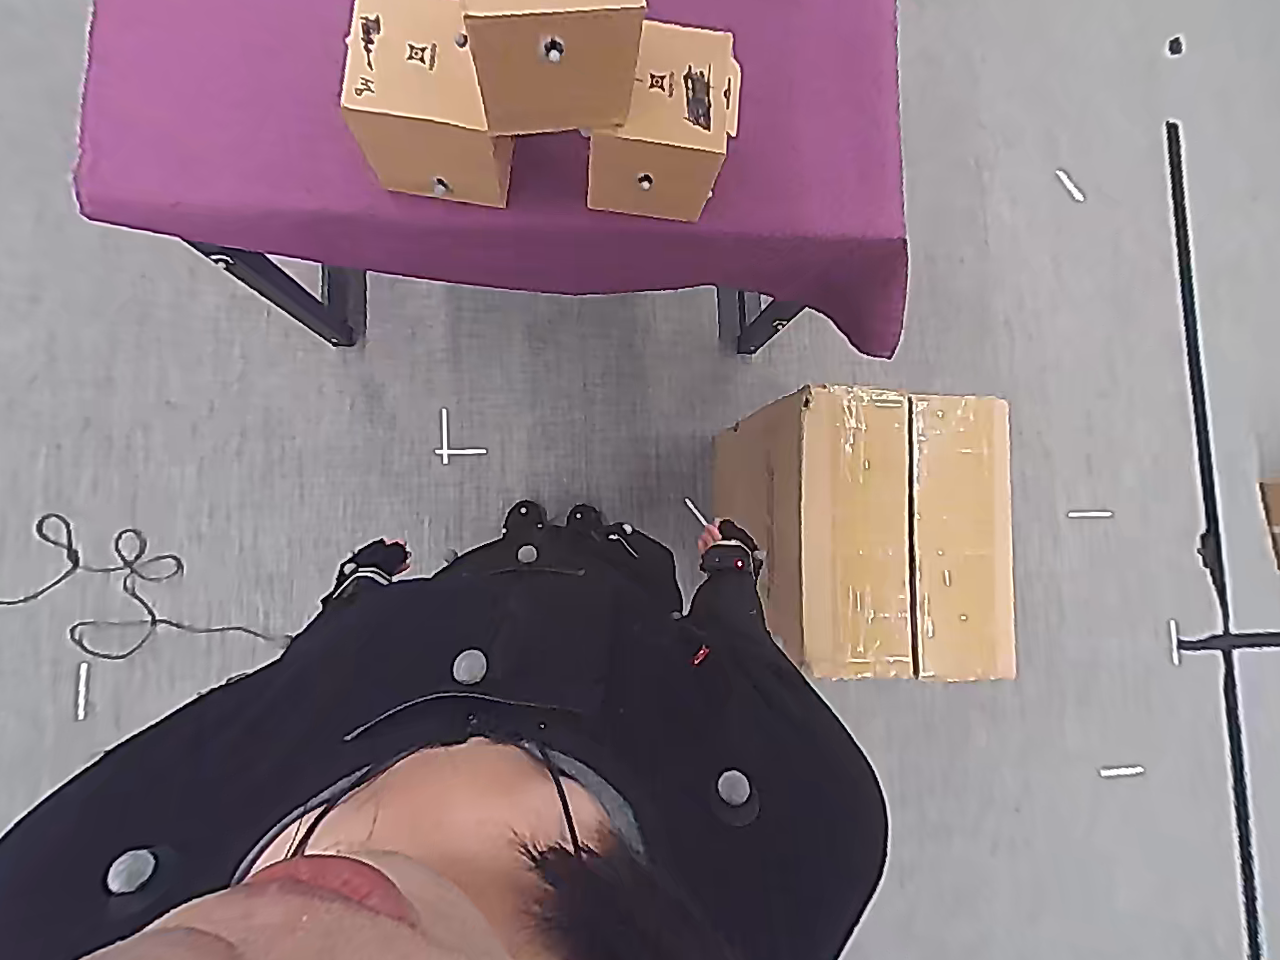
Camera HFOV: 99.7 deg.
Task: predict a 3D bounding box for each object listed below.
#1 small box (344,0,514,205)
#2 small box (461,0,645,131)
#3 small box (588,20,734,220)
[{"bbox_3d":[-0.268,-0.504,0.734,0.179,0.176,0.168,6,84,-8],"label":"small box"},{"bbox_3d":[-0.101,-0.516,0.592,0.179,0.176,0.168,-10,88,-8],"label":"small box"},{"bbox_3d":[0.021,-0.497,0.770,0.179,0.176,0.168,5,85,-6],"label":"small box"}]
